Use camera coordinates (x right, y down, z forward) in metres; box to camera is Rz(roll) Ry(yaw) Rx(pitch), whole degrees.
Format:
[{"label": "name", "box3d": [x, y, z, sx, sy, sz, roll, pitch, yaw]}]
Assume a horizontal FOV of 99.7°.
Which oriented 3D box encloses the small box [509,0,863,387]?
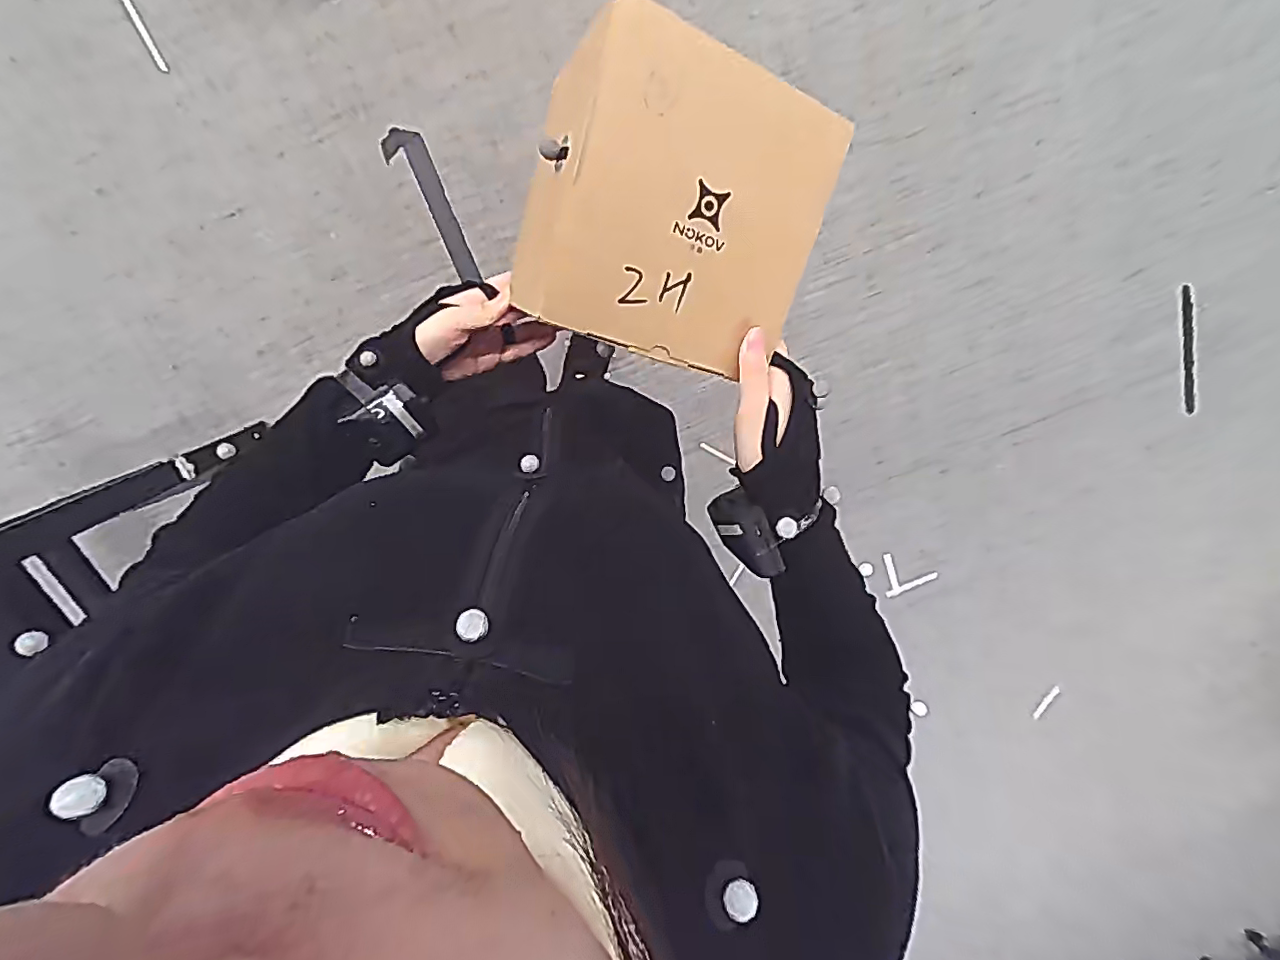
[{"label": "small box", "box3d": [0.012, -0.185, 0.386, 0.168, 0.176, 0.179, 12, 106, -25]}]
